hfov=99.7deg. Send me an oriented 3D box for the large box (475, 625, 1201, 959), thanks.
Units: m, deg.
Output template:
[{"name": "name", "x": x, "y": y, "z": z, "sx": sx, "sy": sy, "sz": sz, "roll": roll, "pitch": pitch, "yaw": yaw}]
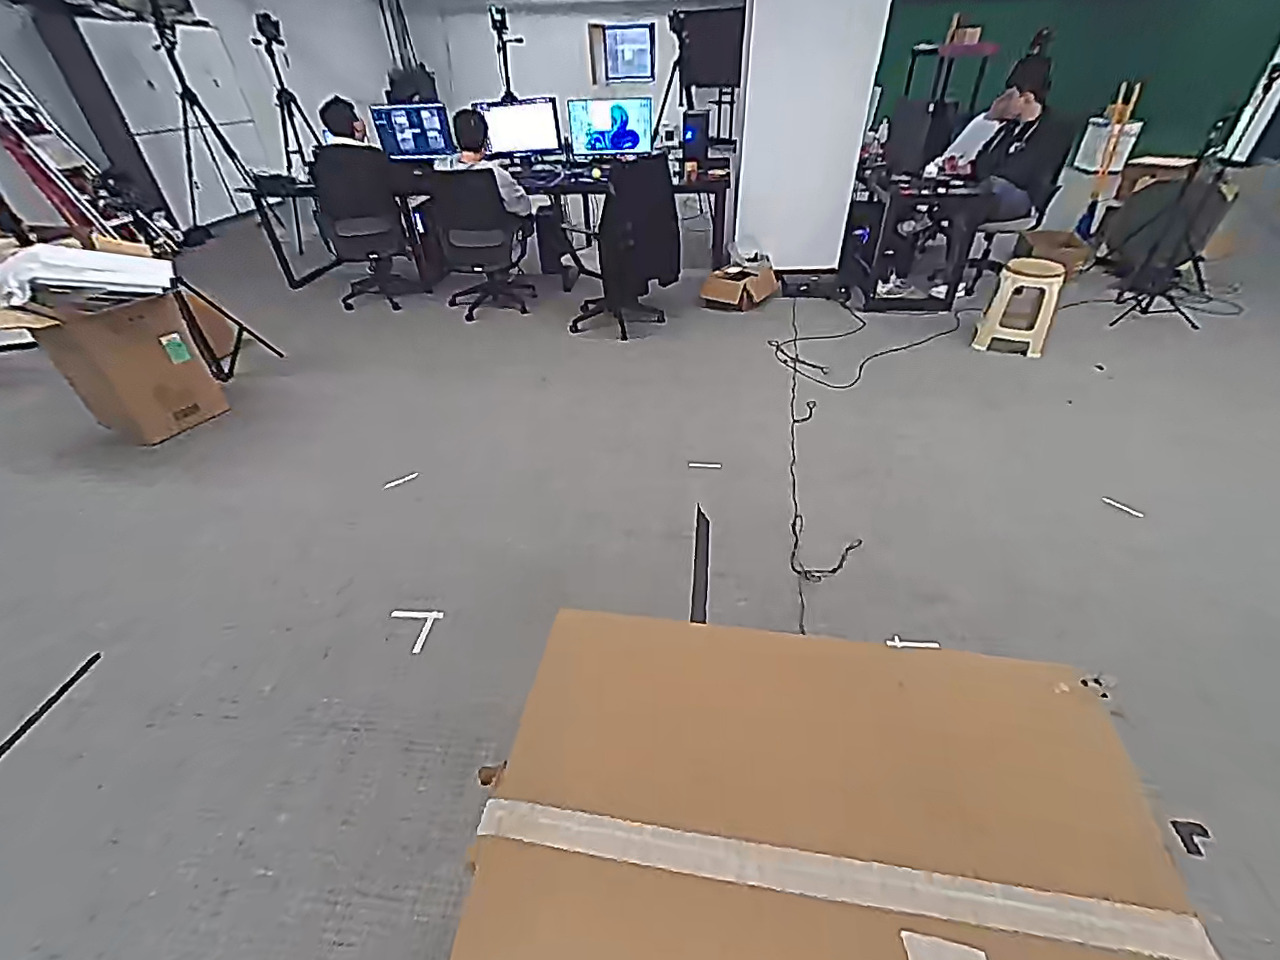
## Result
[{"name": "large box", "x": 0.116, "y": 0.347, "z": 0.432, "sx": 0.408, "sy": 0.320, "sz": 0.320, "roll": 4, "pitch": 46, "yaw": 9}]
